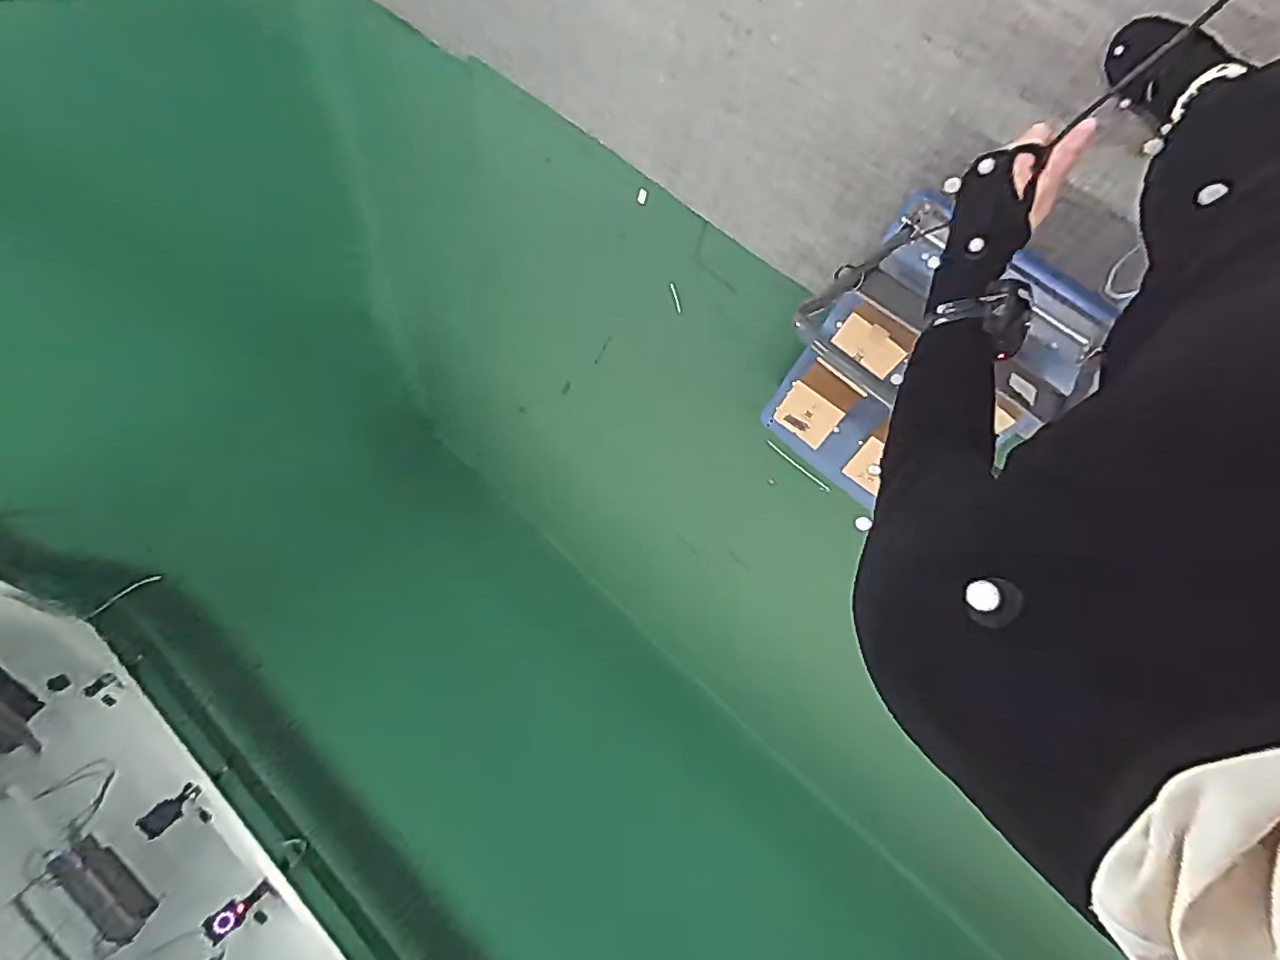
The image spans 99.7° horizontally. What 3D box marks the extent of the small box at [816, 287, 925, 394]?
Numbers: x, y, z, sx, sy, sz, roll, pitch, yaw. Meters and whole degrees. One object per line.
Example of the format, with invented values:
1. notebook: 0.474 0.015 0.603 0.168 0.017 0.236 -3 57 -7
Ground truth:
1. small box: 0.600 -0.364 1.405 0.168 0.176 0.179 42 146 9

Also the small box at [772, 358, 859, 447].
1. small box: 0.532 -0.239 1.618 0.168 0.176 0.179 39 146 12

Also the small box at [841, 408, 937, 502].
1. small box: 0.725 -0.076 1.566 0.168 0.176 0.179 40 147 14
